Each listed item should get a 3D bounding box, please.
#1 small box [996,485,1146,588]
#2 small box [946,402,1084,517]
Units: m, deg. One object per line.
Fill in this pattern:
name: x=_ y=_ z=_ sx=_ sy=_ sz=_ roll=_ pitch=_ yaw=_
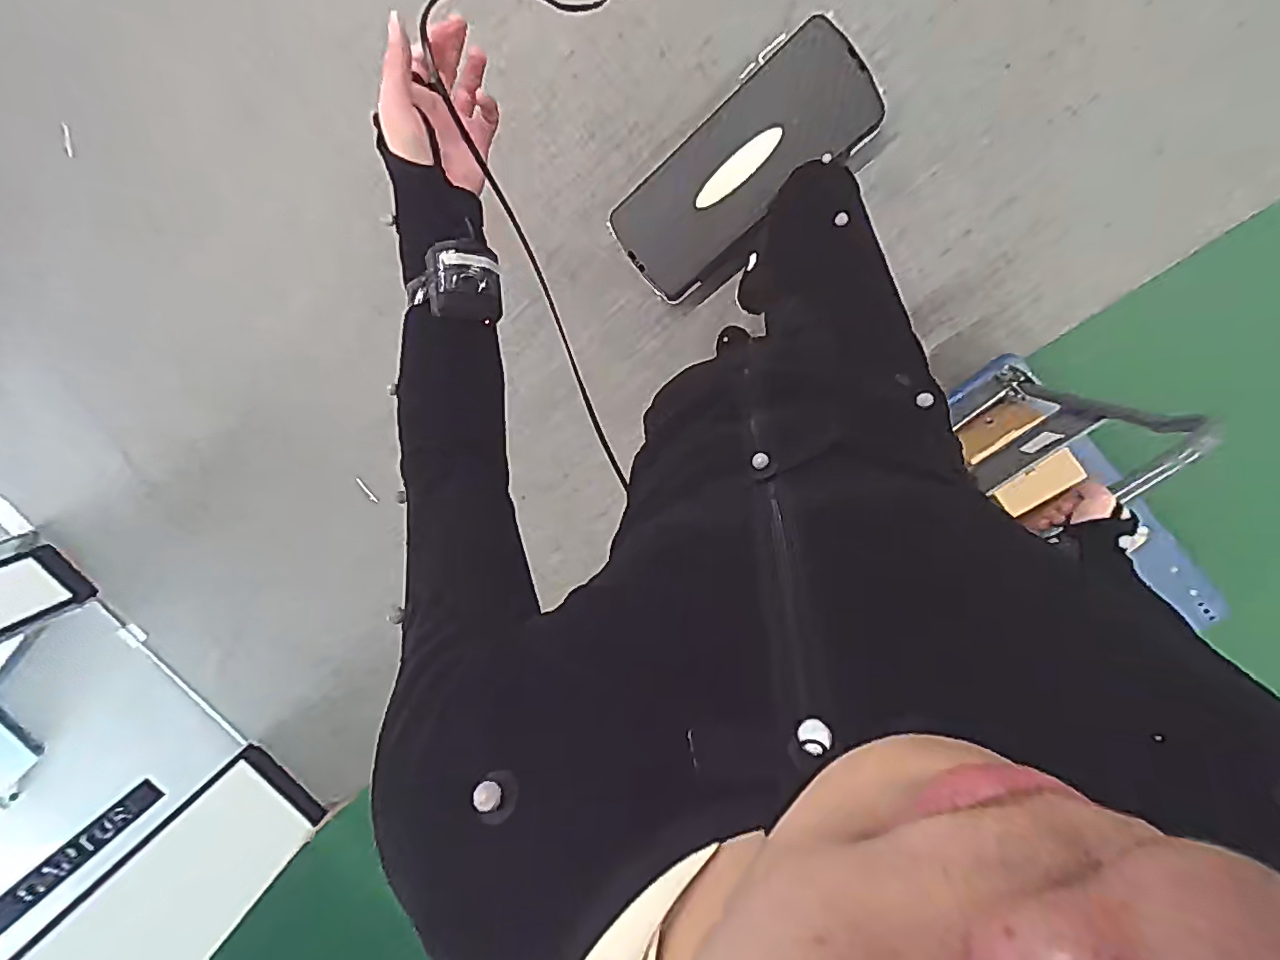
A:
small box: x=0.977 y=0.109 z=1.249 sx=0.179 sy=0.176 sz=0.168 roll=35 pitch=112 yaw=-2
small box: x=0.838 y=-0.053 z=1.225 sx=0.168 sy=0.176 sz=0.179 roll=-37 pitch=97 yaw=20
